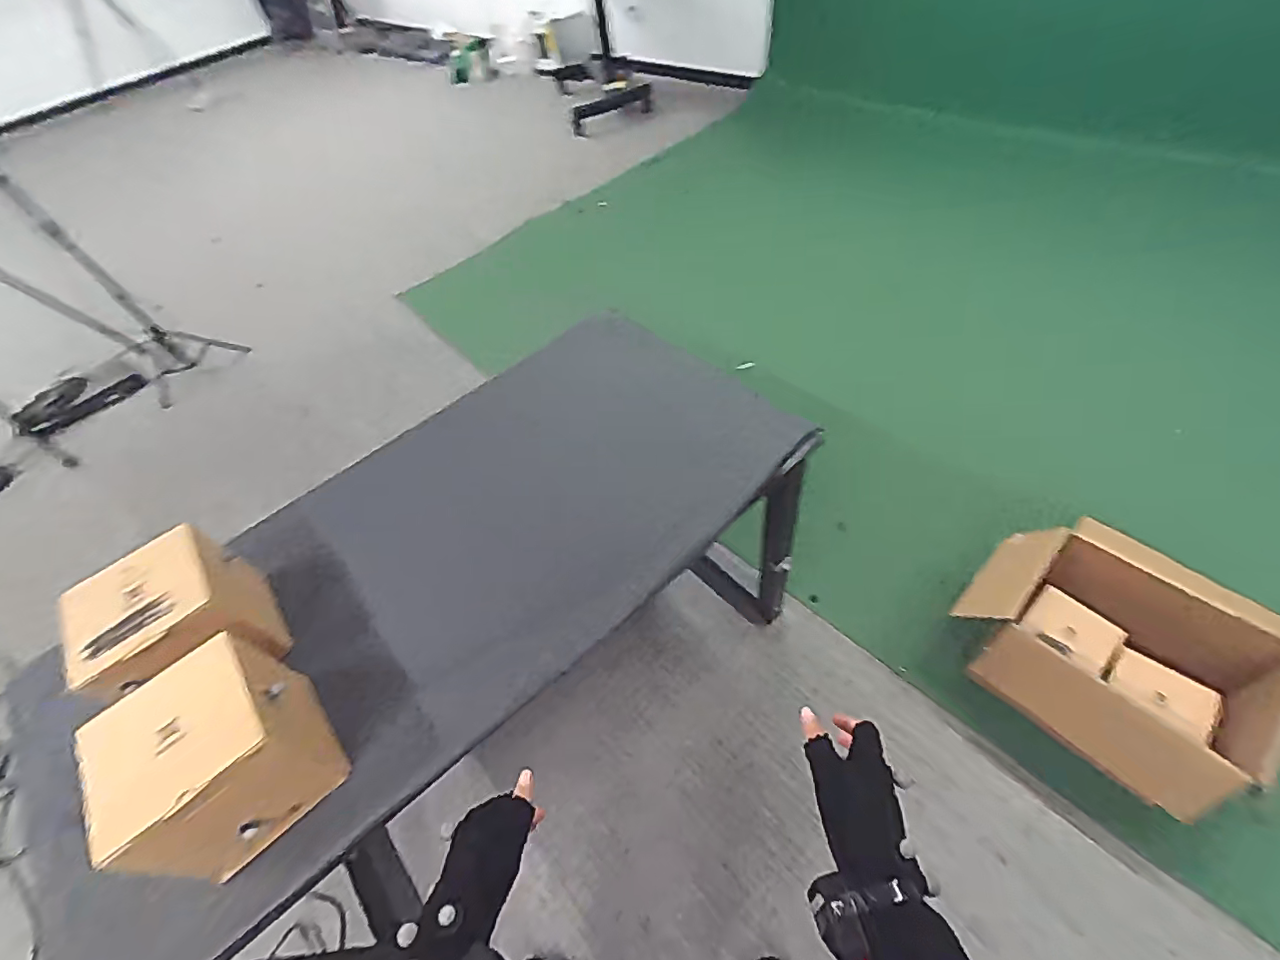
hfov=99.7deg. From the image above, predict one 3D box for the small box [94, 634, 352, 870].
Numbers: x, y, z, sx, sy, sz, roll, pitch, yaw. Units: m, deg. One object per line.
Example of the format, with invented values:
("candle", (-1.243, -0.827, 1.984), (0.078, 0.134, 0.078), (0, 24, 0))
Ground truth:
("small box", (-0.491, 0.330, 0.653), (0.168, 0.176, 0.179), (-38, 54, -21))
